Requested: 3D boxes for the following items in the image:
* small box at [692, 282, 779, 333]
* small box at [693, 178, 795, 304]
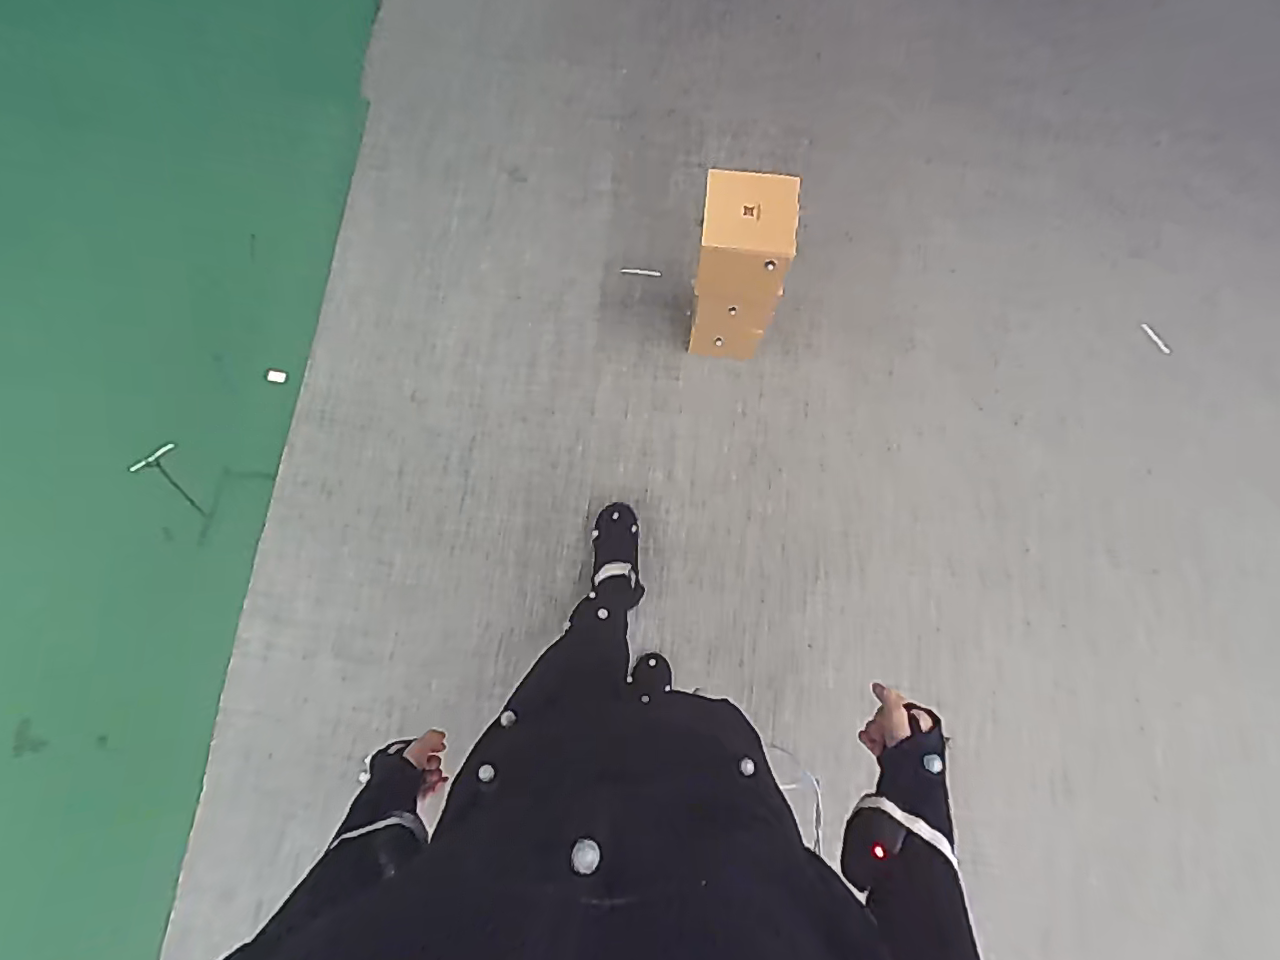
[{"bbox_3d":[0.220,-0.457,1.263,0.179,0.176,0.168,4,78,3],"label":"small box"},{"bbox_3d":[0.204,-0.478,1.102,0.179,0.176,0.168,6,79,1],"label":"small box"}]
